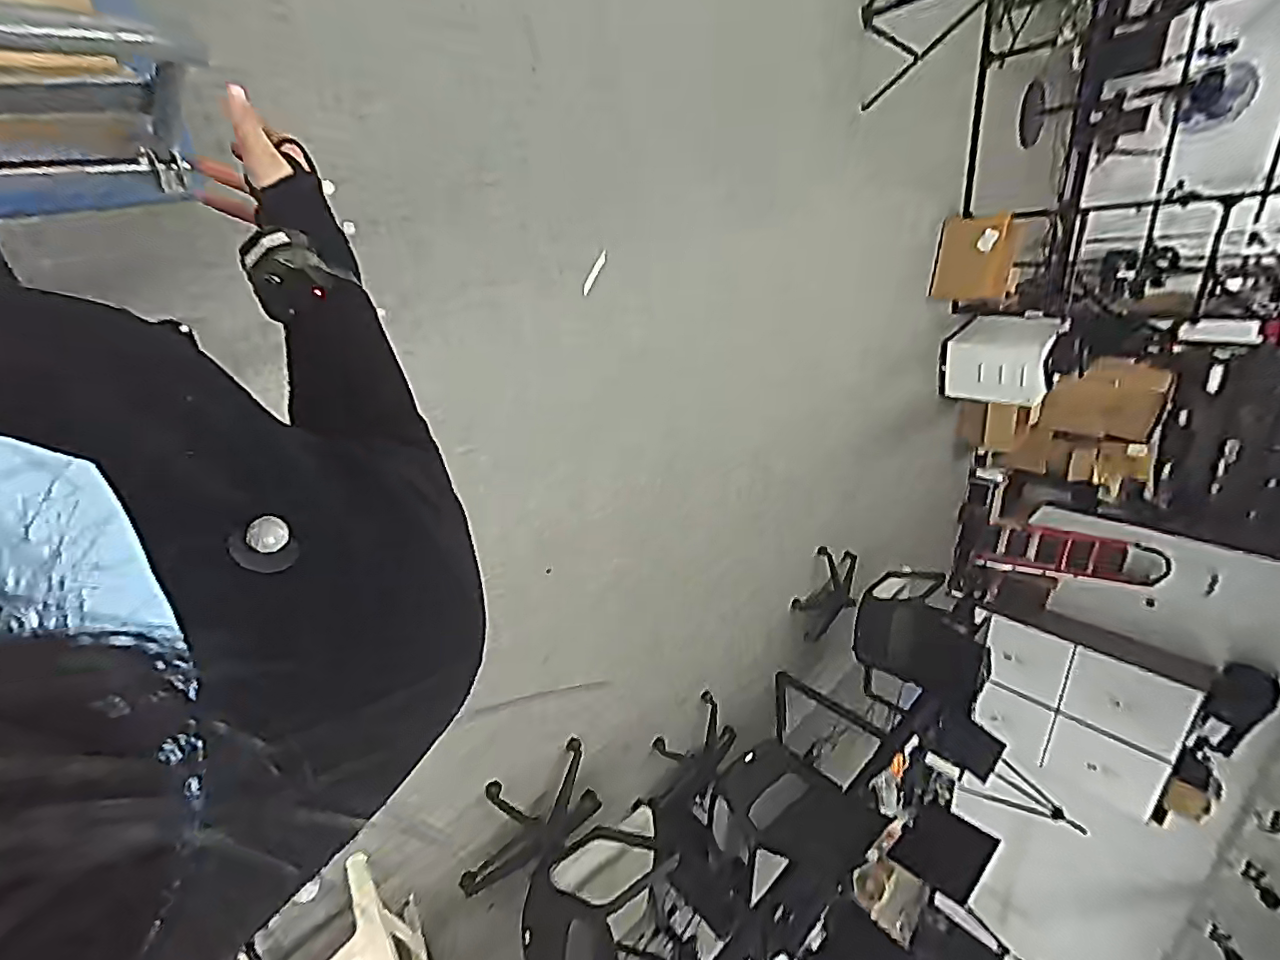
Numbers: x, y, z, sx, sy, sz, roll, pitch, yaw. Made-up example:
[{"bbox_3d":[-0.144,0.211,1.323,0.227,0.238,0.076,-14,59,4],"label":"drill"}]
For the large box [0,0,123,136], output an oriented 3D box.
[{"bbox_3d":[-0.924,-0.601,0.618,0.408,0.320,0.320,-27,122,-36],"label":"large box"}]
